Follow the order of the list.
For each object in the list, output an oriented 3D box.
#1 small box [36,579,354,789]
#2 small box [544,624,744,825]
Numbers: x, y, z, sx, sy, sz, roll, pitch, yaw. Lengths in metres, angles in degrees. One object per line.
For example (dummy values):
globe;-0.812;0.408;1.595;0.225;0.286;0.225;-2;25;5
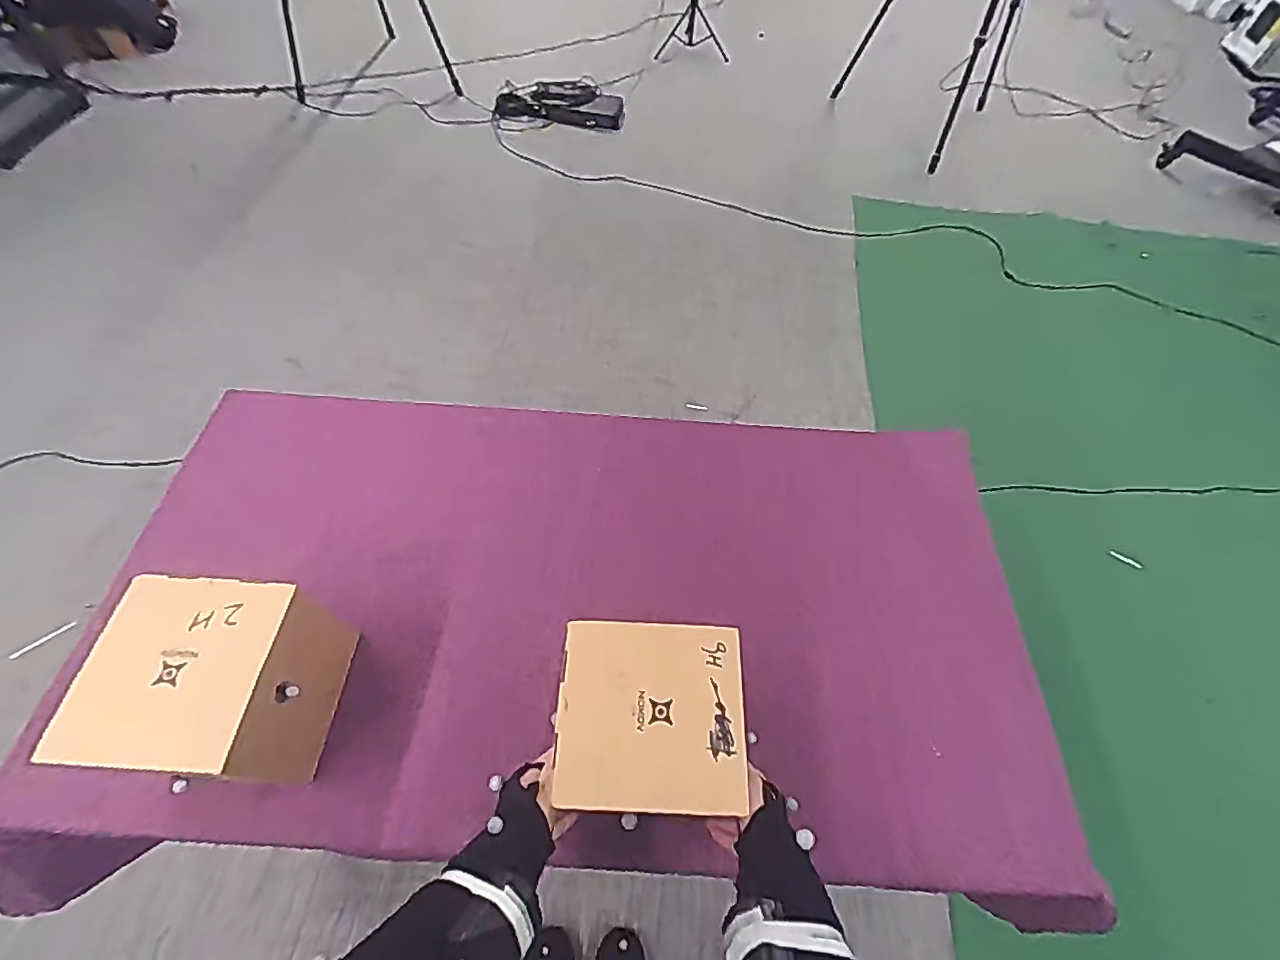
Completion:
small box;-0.439;0.223;0.577;0.168;0.176;0.179;4;57;0
small box;0.006;0.262;0.571;0.179;0.176;0.168;3;57;0
